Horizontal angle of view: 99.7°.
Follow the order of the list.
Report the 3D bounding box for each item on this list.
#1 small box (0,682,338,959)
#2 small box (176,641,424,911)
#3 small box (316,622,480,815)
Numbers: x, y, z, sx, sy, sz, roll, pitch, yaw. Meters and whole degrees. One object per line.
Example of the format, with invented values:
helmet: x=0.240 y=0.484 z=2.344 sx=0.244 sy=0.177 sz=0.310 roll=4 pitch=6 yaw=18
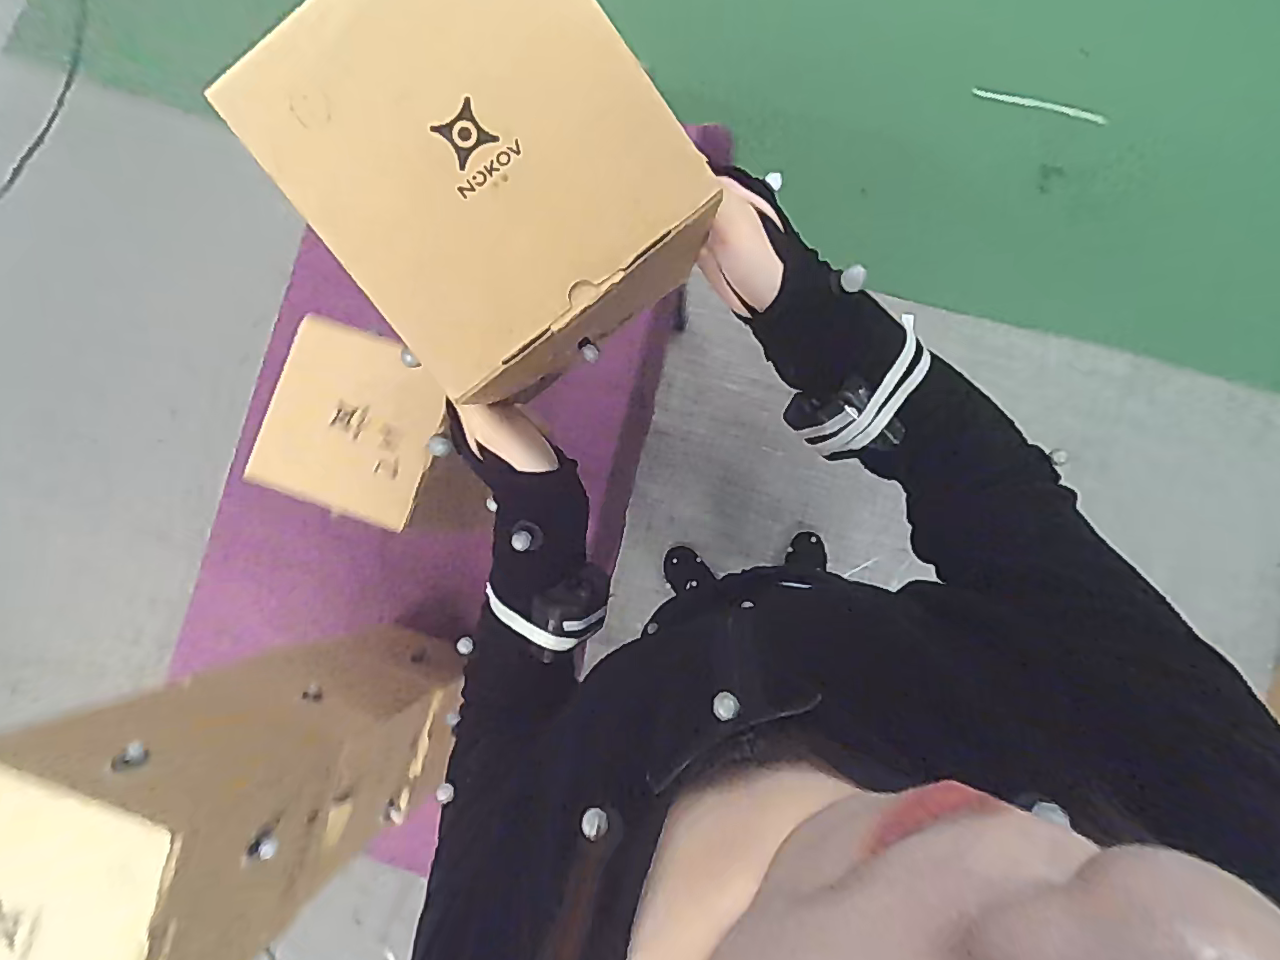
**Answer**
small box: x=-0.371 y=0.271 z=0.405 sx=0.179 sy=0.176 sz=0.168 roll=15 pitch=86 yaw=6
small box: x=-0.360 y=0.285 z=0.567 sx=0.179 sy=0.176 sz=0.168 roll=17 pitch=87 yaw=7
small box: x=-0.341 y=0.304 z=0.730 sx=0.179 sy=0.176 sz=0.168 roll=16 pitch=86 yaw=5
